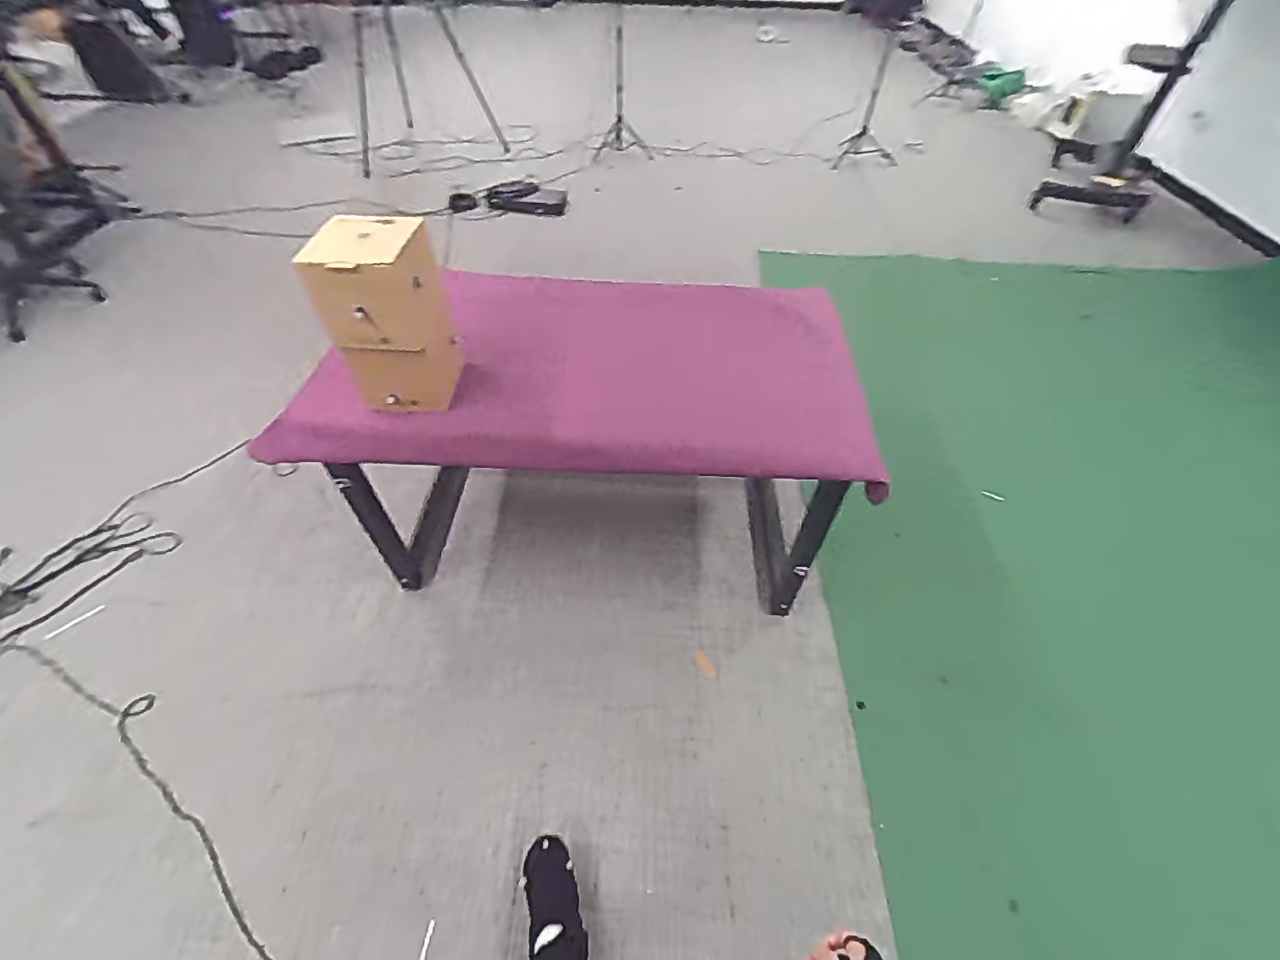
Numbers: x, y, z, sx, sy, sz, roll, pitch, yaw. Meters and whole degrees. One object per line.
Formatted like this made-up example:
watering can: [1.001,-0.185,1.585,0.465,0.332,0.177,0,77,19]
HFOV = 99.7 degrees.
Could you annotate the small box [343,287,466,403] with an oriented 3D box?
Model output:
small box: [-0.470,-0.282,1.114,0.168,0.176,0.179,2,51,0]

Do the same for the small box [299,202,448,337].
small box: [-0.466,-0.379,0.982,0.168,0.176,0.179,4,51,1]
